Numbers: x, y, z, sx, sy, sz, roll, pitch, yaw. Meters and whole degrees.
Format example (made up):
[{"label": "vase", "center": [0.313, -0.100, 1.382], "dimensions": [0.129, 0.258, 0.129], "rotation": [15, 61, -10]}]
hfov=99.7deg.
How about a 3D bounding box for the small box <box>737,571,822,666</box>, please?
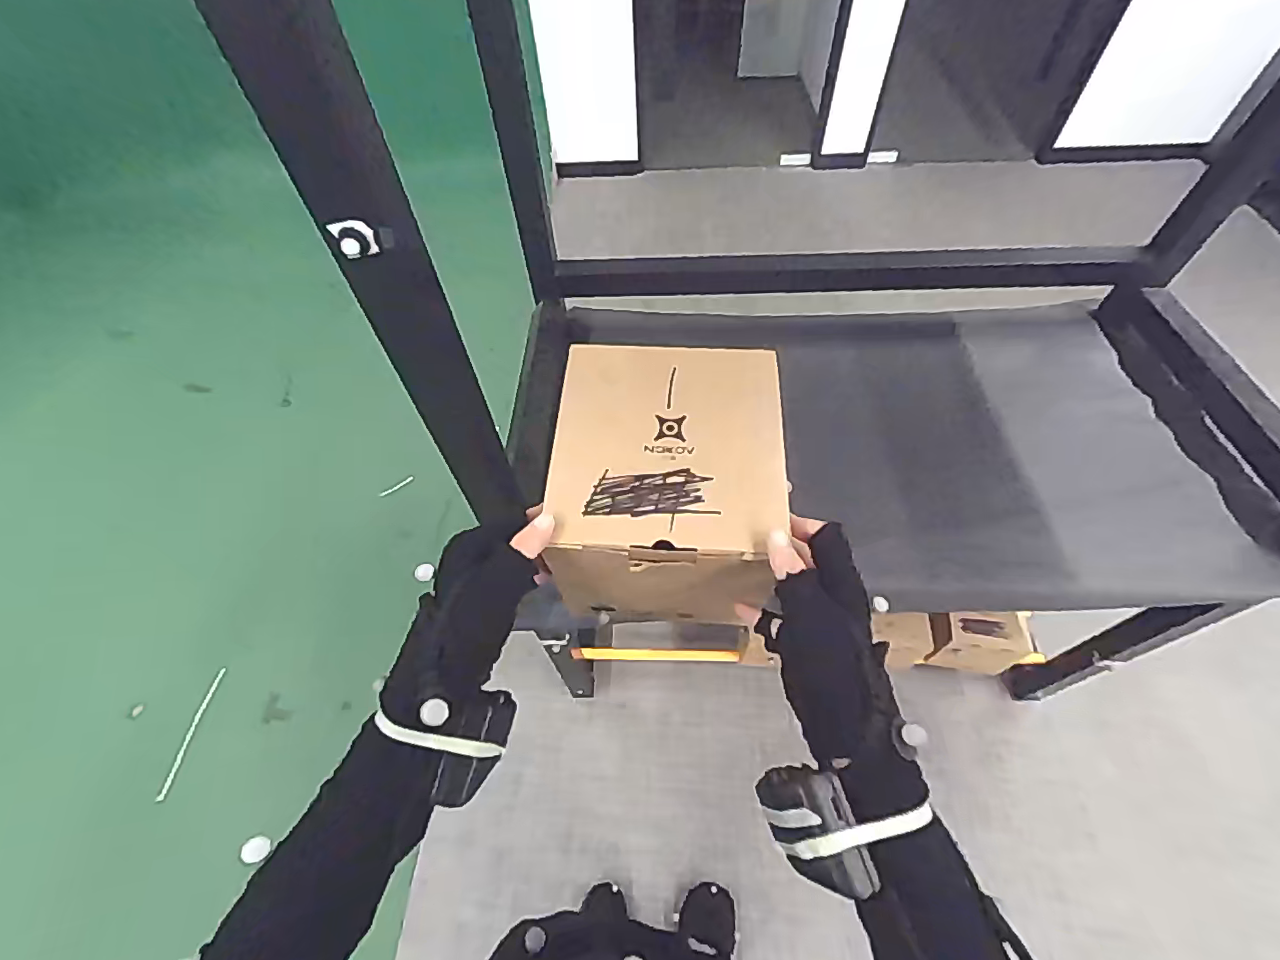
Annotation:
[{"label": "small box", "center": [0.328, 0.336, 1.307], "dimensions": [0.168, 0.176, 0.179], "rotation": [1, 57, 3]}]
